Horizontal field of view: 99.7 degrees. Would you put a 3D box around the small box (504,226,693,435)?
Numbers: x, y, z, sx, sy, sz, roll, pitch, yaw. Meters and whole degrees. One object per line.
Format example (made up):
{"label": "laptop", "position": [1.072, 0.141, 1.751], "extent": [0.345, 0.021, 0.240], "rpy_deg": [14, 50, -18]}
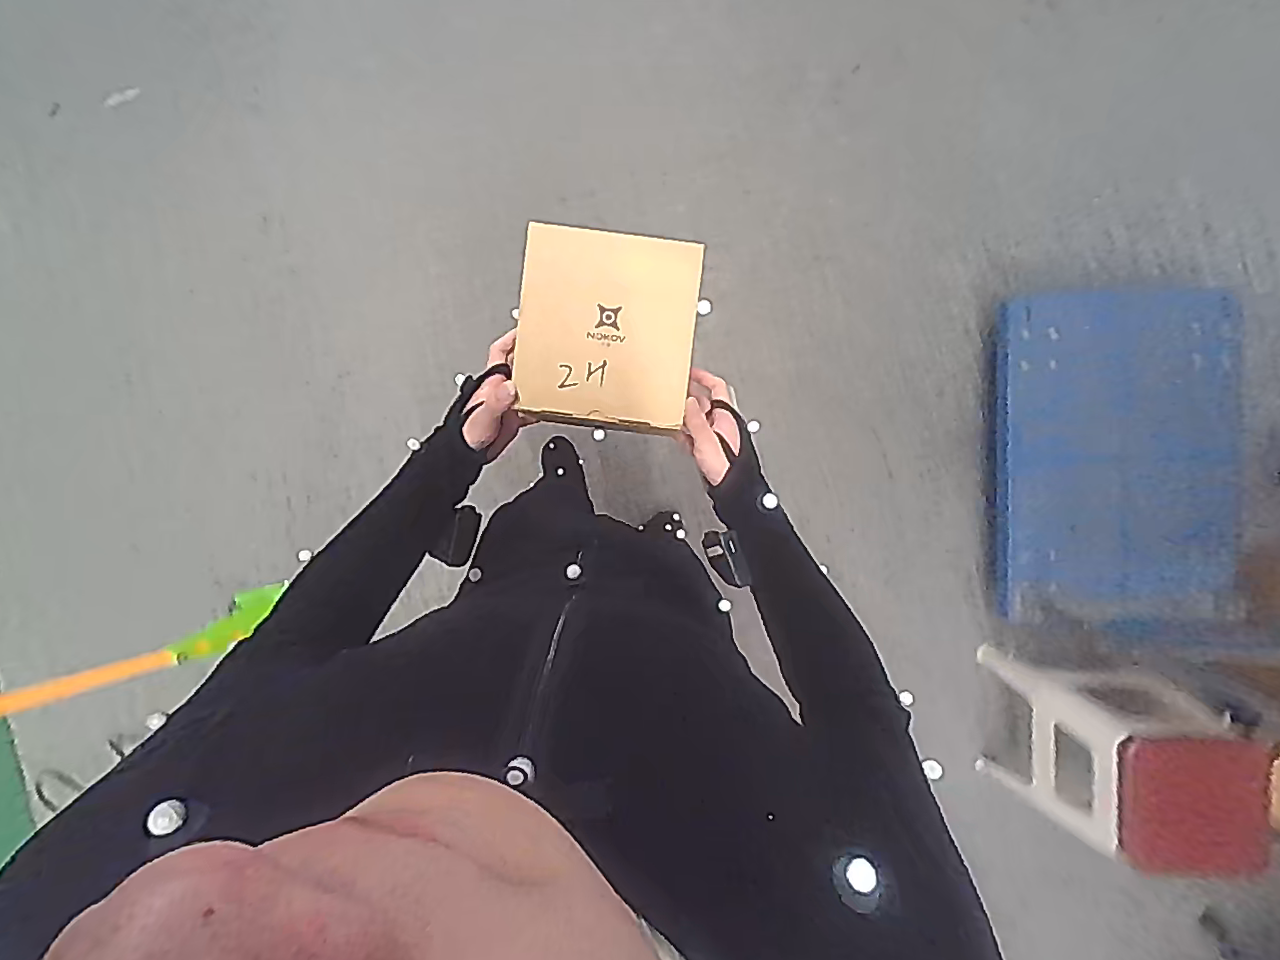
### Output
{"label": "small box", "position": [-0.043, -0.147, 0.593], "extent": [0.168, 0.176, 0.179], "rpy_deg": [6, 93, -2]}
